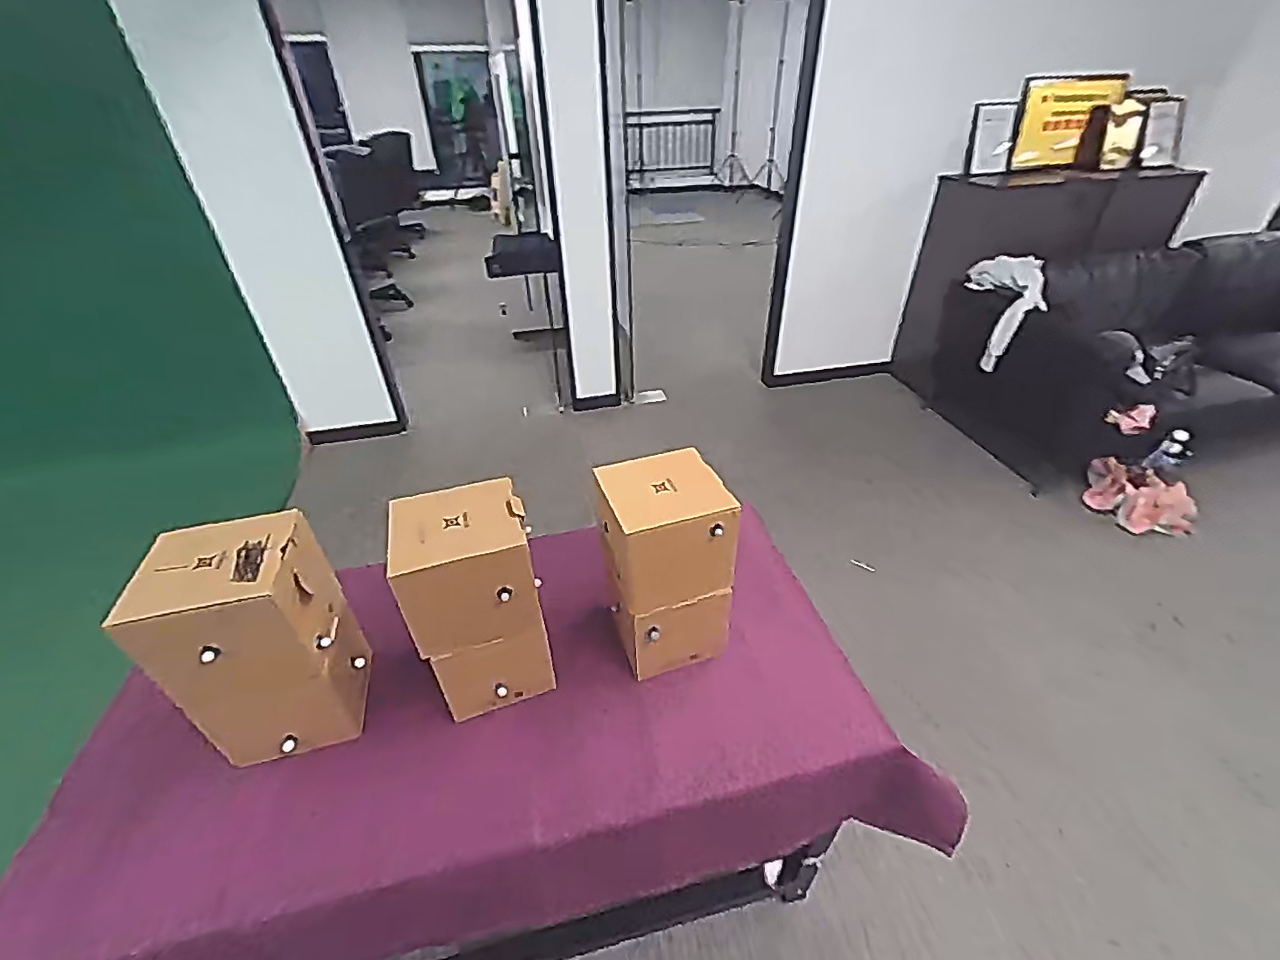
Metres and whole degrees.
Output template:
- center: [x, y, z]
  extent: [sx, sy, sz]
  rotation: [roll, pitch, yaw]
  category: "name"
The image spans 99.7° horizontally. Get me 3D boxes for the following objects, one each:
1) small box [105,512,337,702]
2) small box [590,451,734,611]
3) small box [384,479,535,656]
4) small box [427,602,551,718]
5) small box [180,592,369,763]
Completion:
- center: [-0.543, 0.172, 0.738]
  extent: [0.179, 0.176, 0.168]
  rotation: [-10, 38, -11]
  category: "small box"
- center: [0.031, 0.080, 0.849]
  extent: [0.179, 0.176, 0.168]
  rotation: [-12, 38, -15]
  category: "small box"
- center: [-0.257, 0.126, 0.795]
  extent: [0.179, 0.176, 0.168]
  rotation: [-12, 38, -14]
  category: "small box"
- center: [-0.252, 0.255, 0.896]
  extent: [0.168, 0.176, 0.179]
  rotation: [-14, 39, -15]
  category: "small box"
- center: [-0.541, 0.303, 0.836]
  extent: [0.179, 0.176, 0.168]
  rotation: [-10, 37, -11]
  category: "small box"
